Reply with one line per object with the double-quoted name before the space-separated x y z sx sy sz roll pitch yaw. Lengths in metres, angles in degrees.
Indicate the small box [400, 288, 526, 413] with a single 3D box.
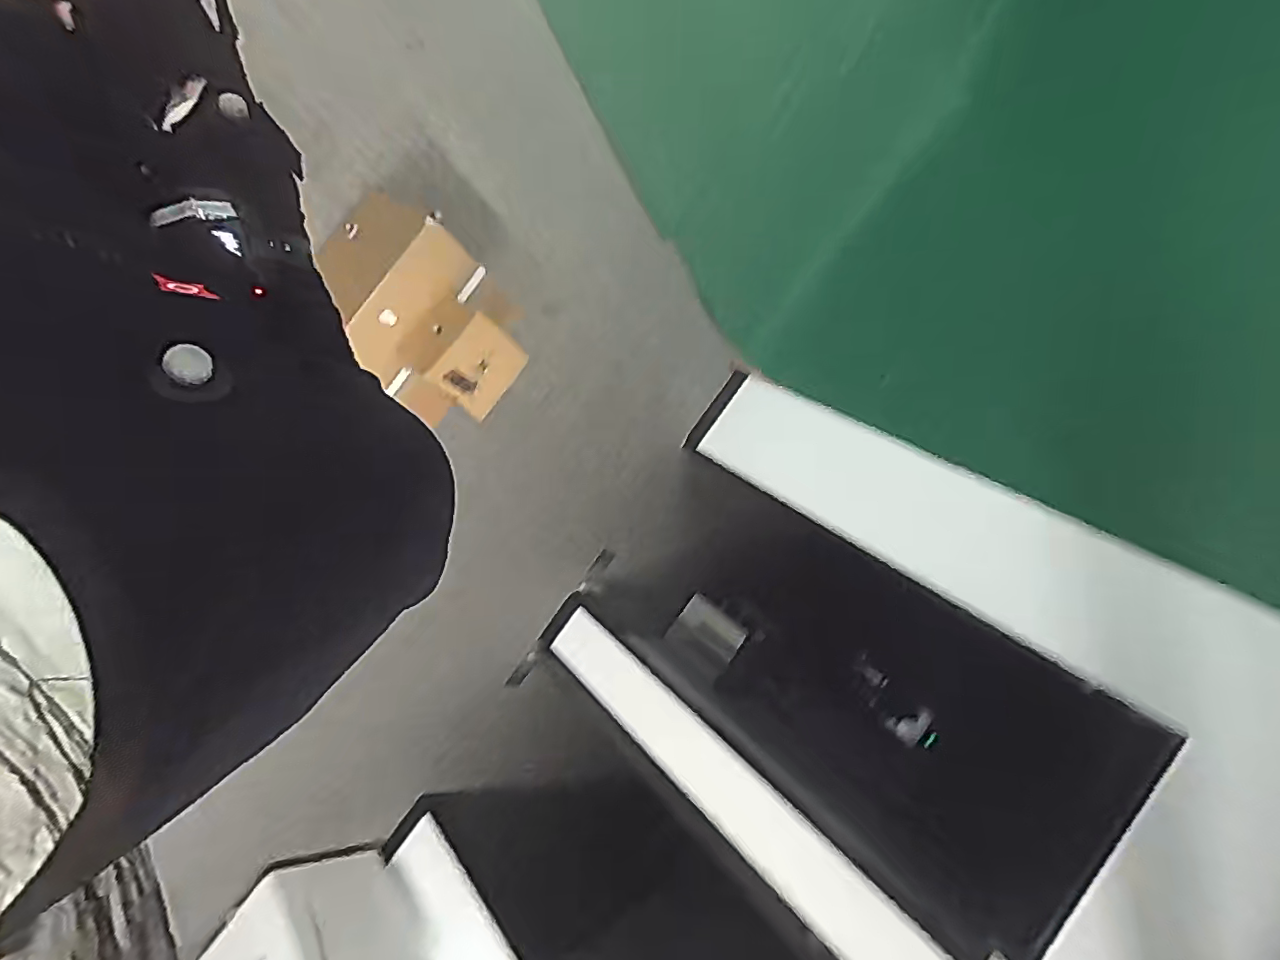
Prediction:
"small box" -0.389 -0.282 1.170 0.179 0.176 0.168 -53 141 -2
